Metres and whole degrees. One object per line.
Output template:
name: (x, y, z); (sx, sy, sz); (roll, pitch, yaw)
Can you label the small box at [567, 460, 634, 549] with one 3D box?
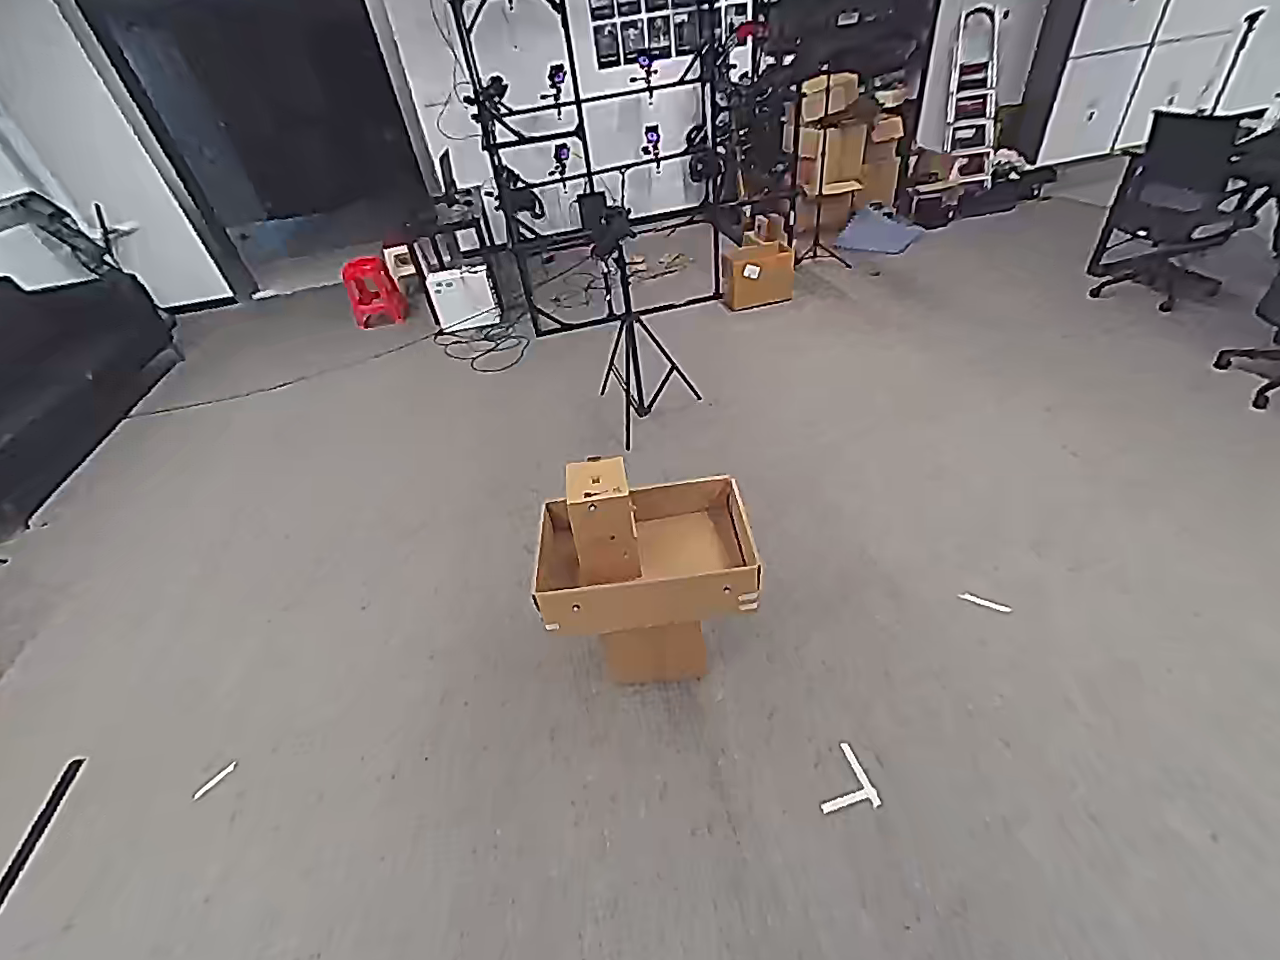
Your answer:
small box: (-0.111, 0.068, 1.515); (0.168, 0.176, 0.179); (-8, 38, -2)
